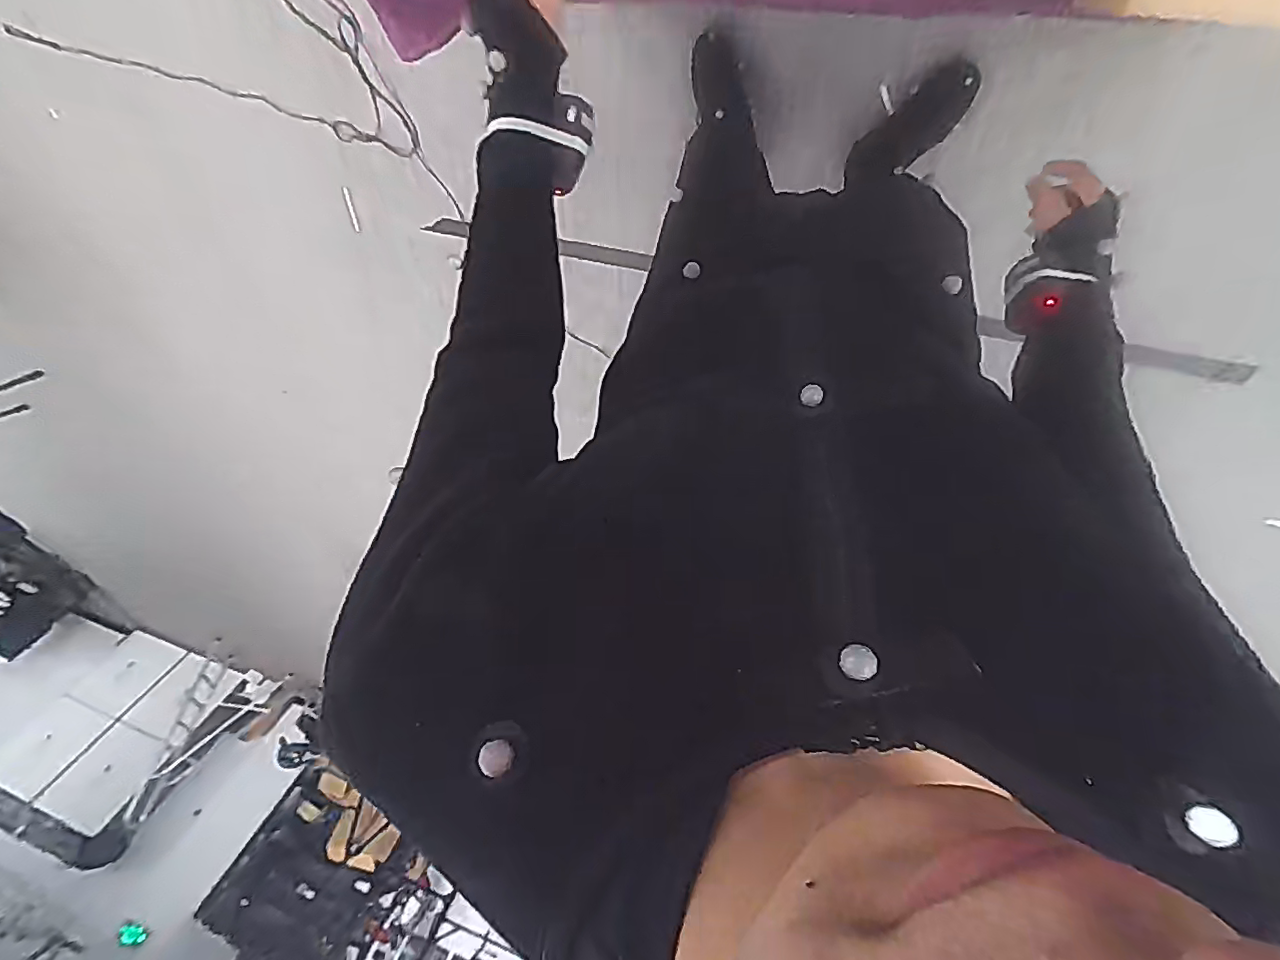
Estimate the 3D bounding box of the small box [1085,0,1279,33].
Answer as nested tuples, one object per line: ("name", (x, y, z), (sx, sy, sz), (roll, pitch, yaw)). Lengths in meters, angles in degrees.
("small box", (0.456, -0.429, 0.373), (0.168, 0.176, 0.179), (17, 135, 11))
